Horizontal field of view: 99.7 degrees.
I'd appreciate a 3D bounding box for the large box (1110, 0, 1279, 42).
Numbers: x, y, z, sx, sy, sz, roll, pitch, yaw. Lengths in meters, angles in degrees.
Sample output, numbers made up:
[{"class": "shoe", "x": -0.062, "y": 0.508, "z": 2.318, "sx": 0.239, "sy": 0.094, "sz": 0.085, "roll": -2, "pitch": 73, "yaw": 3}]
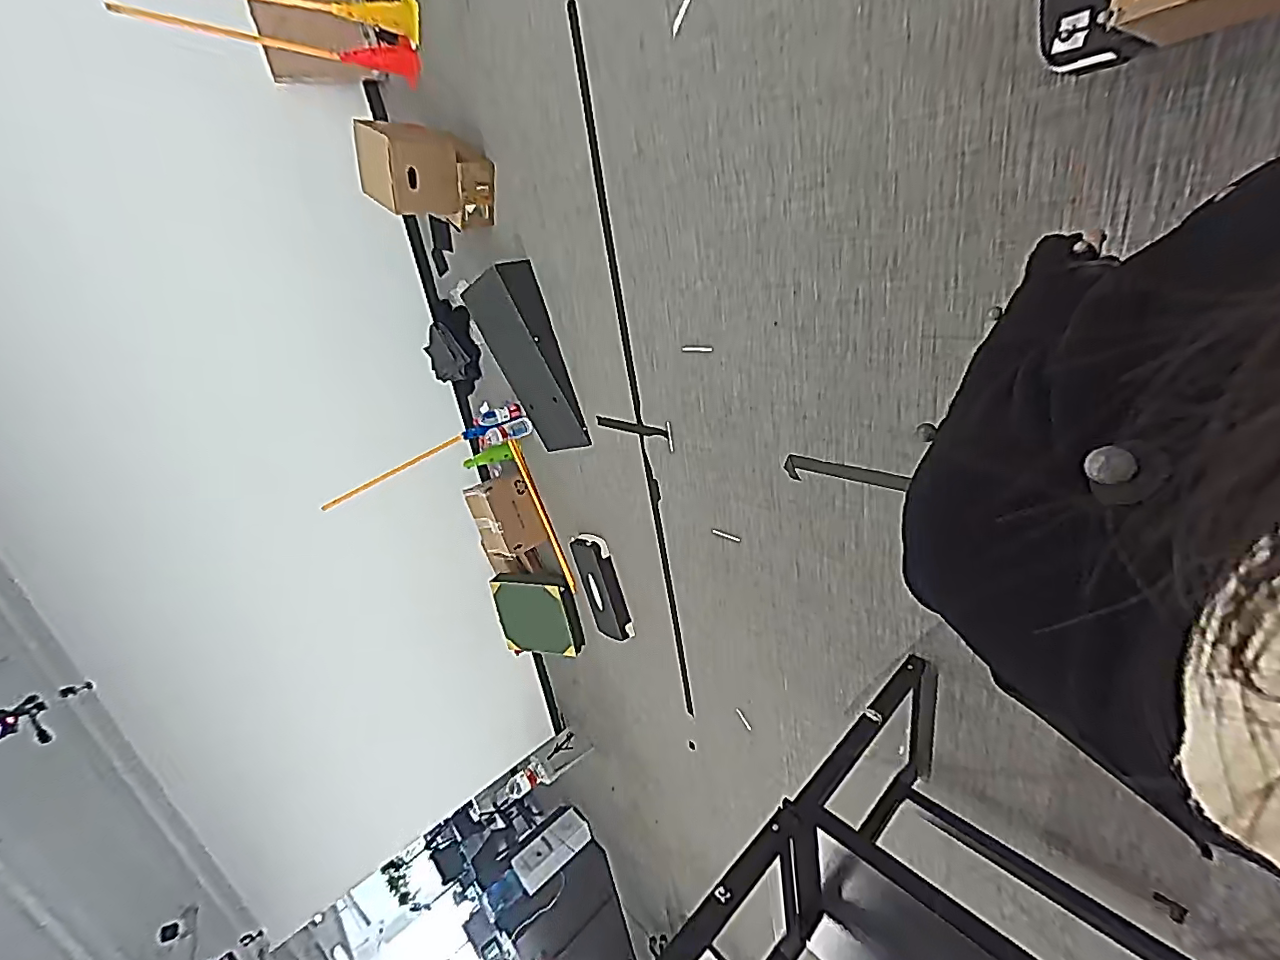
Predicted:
[{"class": "large box", "x": 0.802, "y": -0.726, "z": 0.556, "sx": 0.408, "sy": 0.320, "sz": 0.320, "roll": 16, "pitch": 123, "yaw": 48}]
